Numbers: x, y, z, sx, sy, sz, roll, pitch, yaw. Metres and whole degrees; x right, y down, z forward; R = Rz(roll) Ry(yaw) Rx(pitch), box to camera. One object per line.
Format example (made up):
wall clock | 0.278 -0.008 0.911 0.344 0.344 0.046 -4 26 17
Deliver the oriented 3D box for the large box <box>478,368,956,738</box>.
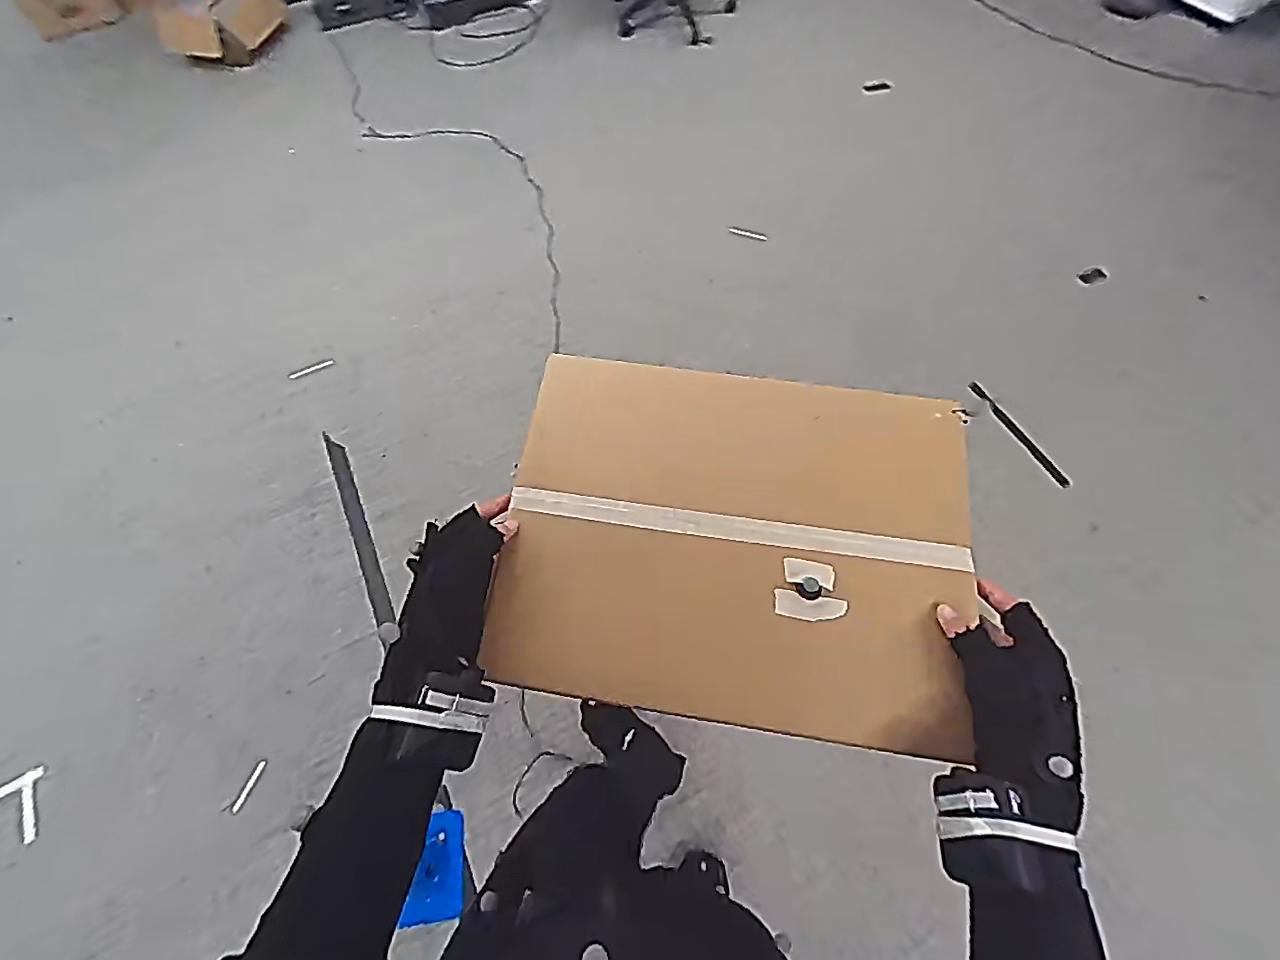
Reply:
large box | 0.079 0.099 0.636 0.408 0.320 0.320 7 69 5

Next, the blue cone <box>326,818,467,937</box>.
blue cone | -0.481 0.785 1.038 0.193 0.380 0.192 -6 64 0
